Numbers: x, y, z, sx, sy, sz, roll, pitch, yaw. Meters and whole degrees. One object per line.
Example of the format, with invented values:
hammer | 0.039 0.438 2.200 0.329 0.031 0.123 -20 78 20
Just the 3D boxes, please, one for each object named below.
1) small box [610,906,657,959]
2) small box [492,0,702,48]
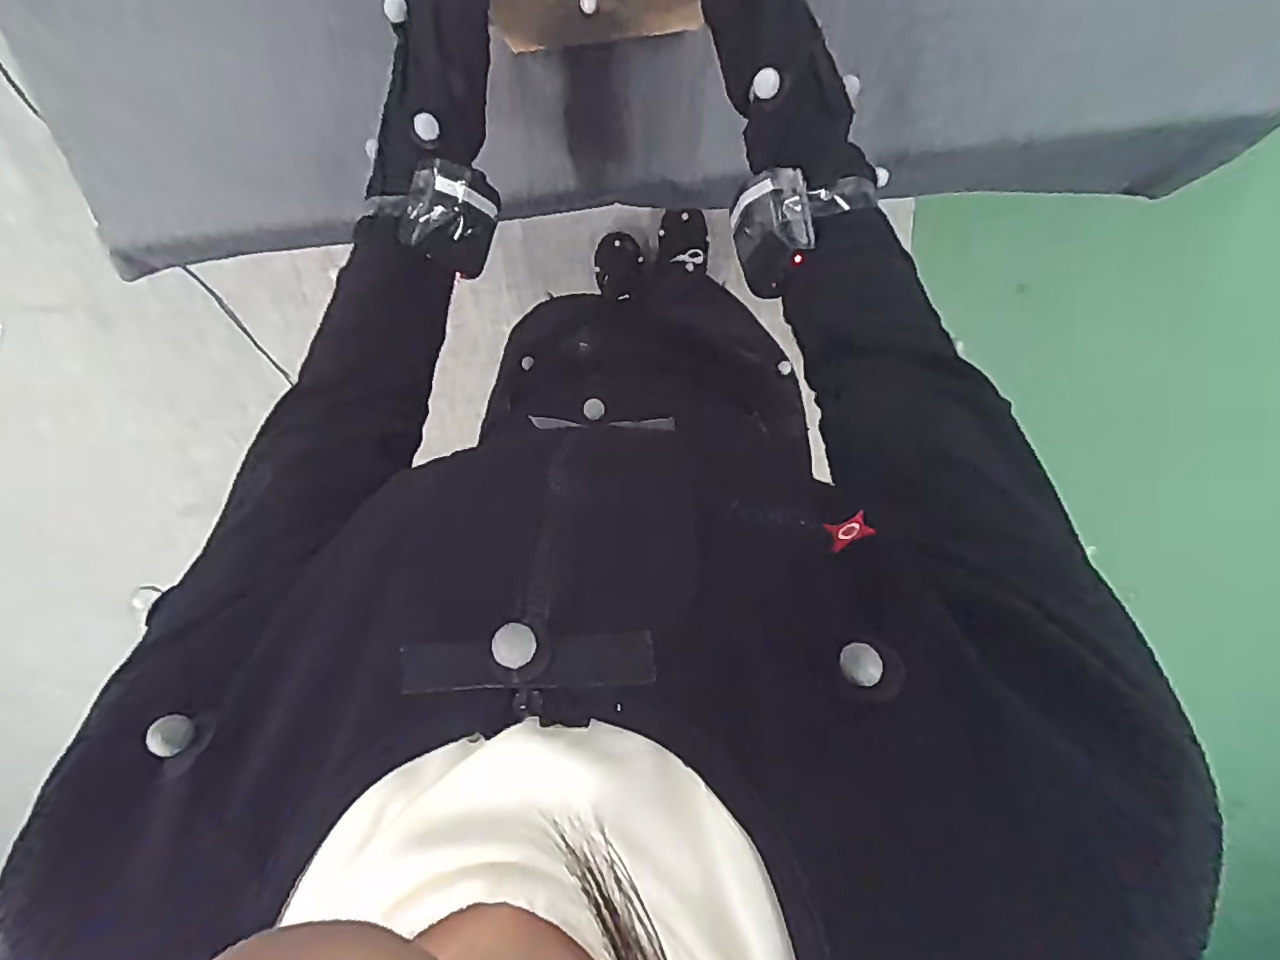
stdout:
small box | -0.024 1.676 1.954 0.168 0.176 0.179 -2 116 0
small box | -0.039 -0.444 0.393 0.179 0.176 0.168 -6 116 3
